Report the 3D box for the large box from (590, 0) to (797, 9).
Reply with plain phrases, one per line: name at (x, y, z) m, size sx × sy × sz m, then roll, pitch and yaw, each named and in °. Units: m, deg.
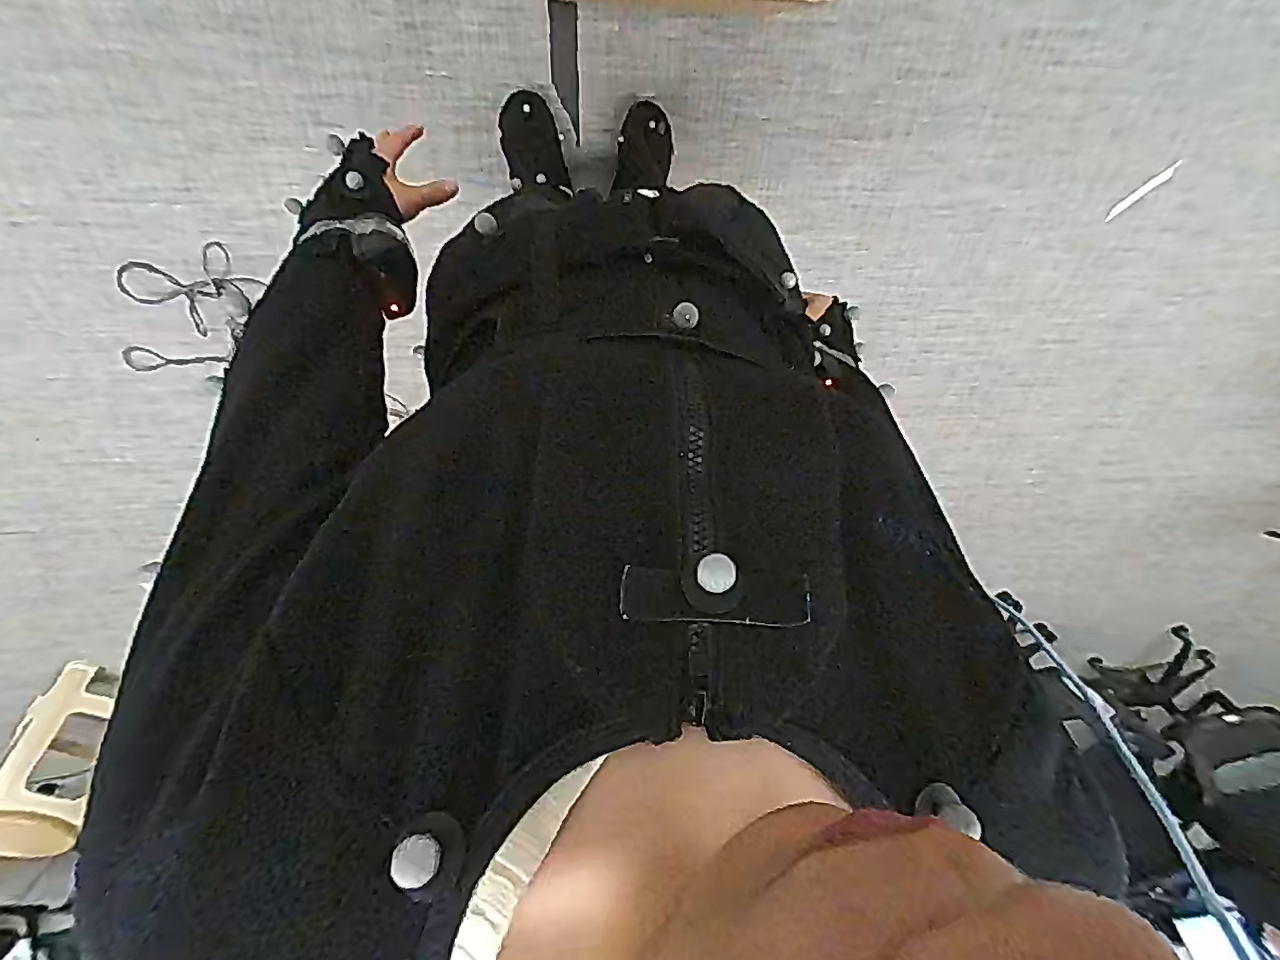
large box at (0.063, -0.856, 0.723) m, size 0.408 × 0.320 × 0.320 m, roll -2°, pitch 128°, yaw -8°
